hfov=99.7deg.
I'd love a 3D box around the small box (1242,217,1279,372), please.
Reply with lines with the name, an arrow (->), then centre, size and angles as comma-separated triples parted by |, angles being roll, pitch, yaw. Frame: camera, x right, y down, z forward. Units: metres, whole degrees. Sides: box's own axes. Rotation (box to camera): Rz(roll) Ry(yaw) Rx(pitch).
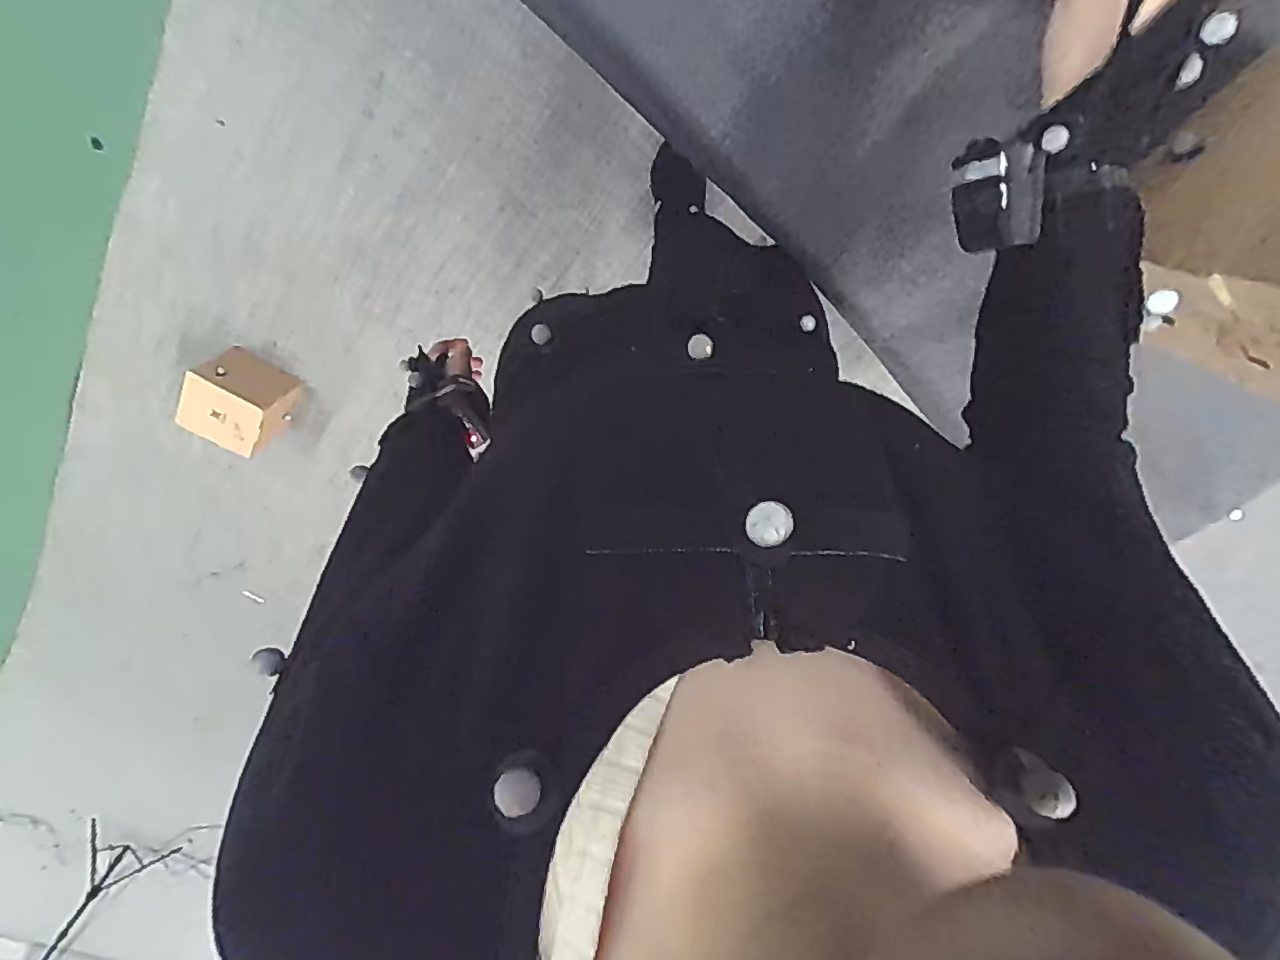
small box -> 0.494, -0.109, 0.285 | 0.168, 0.176, 0.179 | 36, 116, -21

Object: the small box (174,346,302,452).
small box -> -0.986, -0.208, 1.334 | 0.179, 0.176, 0.168 | 31, 120, -17
